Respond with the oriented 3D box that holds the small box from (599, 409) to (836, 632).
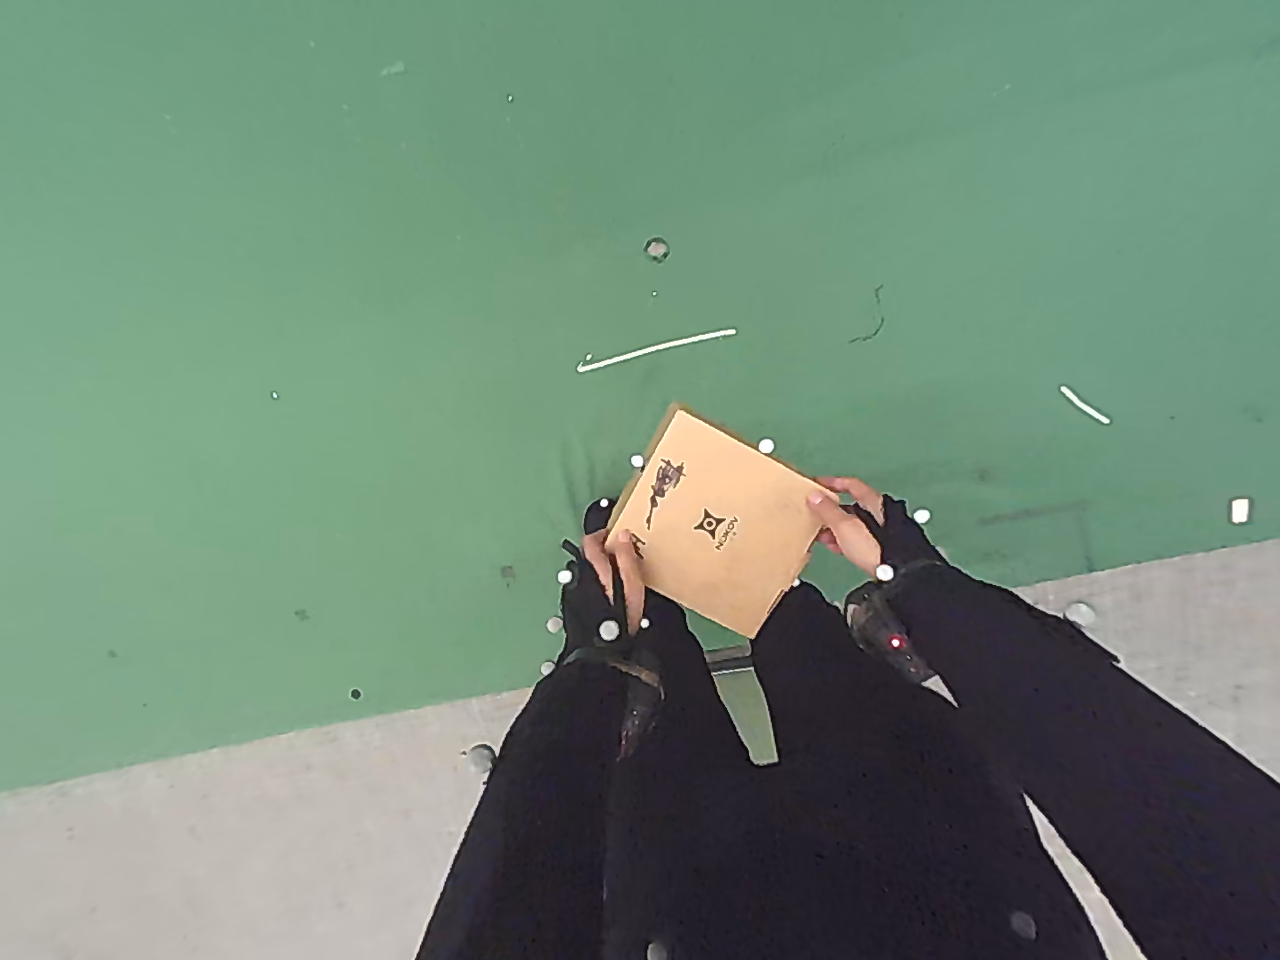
[{"bbox_3d":[0.075,0.029,0.598,0.179,0.176,0.168,28,99,-3],"label":"small box"}]
